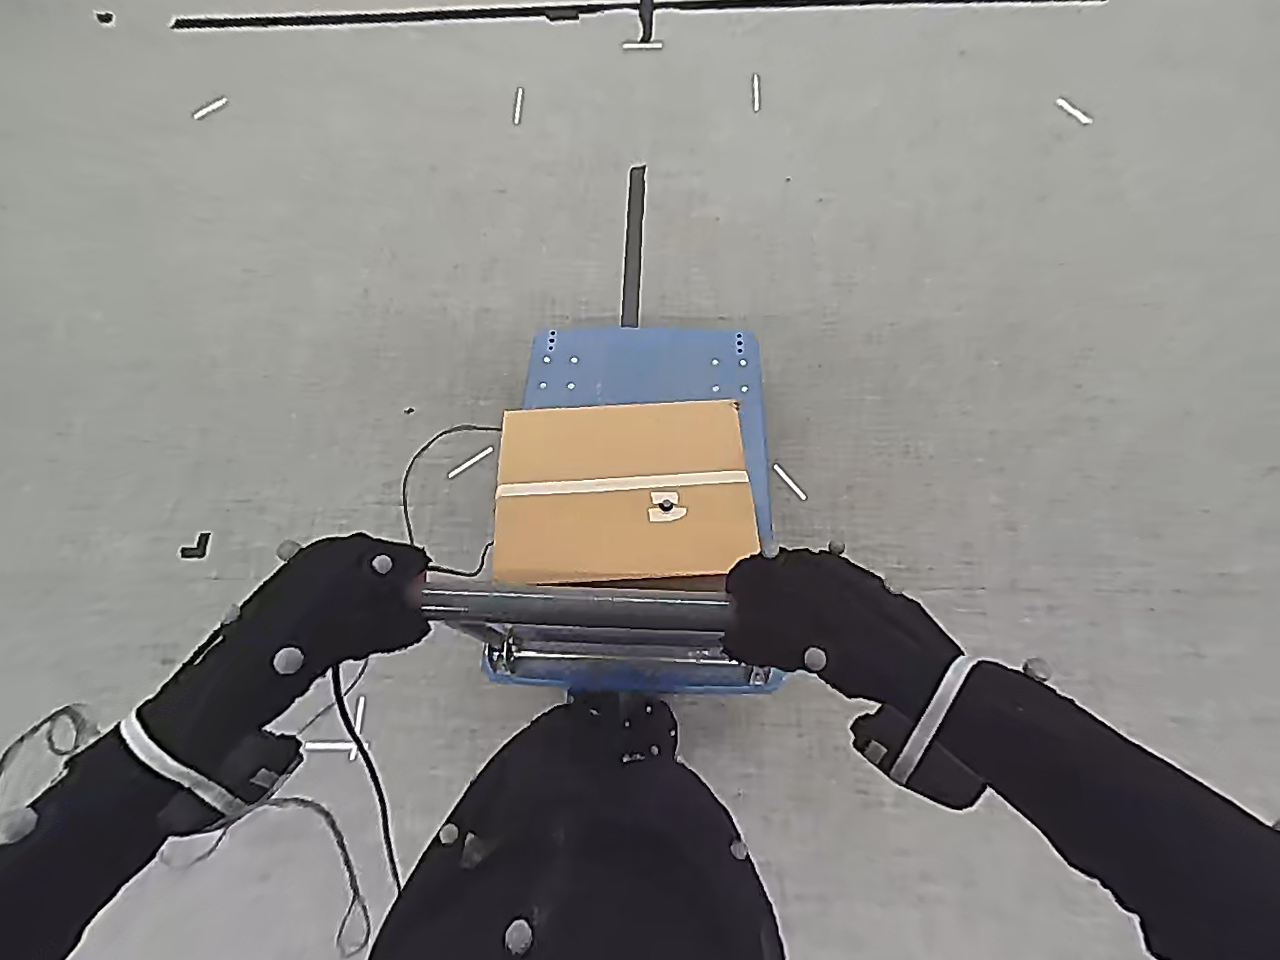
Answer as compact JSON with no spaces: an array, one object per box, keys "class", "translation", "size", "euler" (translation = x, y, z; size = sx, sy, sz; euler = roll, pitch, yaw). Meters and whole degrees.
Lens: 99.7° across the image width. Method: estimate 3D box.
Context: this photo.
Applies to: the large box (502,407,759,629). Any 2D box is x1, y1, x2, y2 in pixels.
[{"class":"large box","translation":[-0.023,0.084,1.021],"size":[0.408,0.320,0.320],"euler":[-3,63,-1]}]
